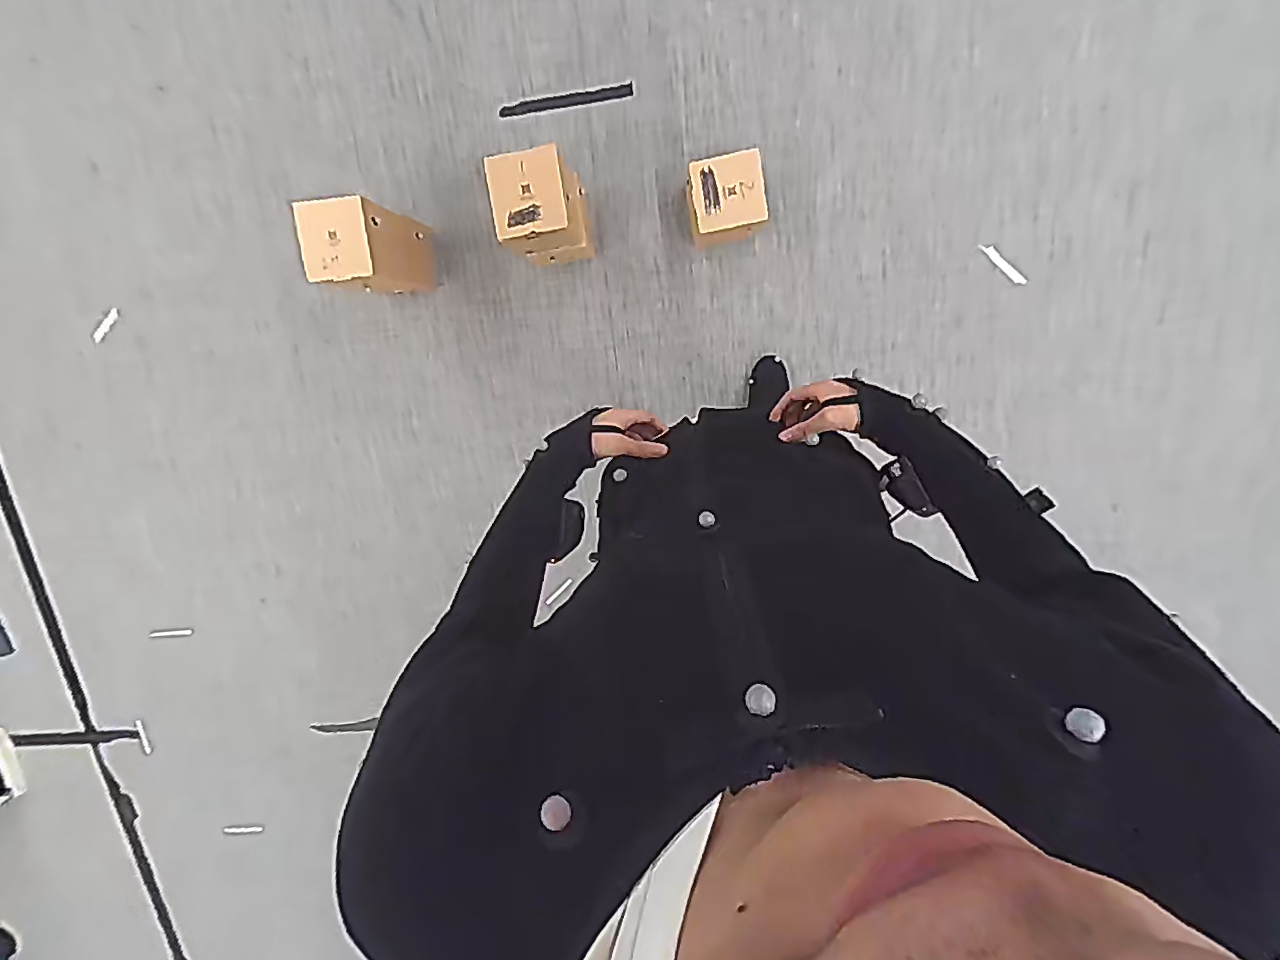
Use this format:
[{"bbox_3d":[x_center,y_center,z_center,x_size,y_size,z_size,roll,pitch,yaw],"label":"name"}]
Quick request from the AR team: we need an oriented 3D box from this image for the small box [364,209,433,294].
[{"bbox_3d":[-0.680,-0.609,1.457,0.168,0.176,0.179,-3,102,5],"label":"small box"}]

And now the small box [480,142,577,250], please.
[{"bbox_3d":[-0.251,-0.648,1.258,0.168,0.176,0.179,-8,100,5],"label":"small box"}]

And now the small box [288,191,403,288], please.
[{"bbox_3d":[-0.697,-0.569,1.299,0.168,0.176,0.179,-3,103,5],"label":"small box"}]

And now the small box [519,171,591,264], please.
[{"bbox_3d":[-0.230,-0.677,1.419,0.168,0.176,0.179,-8,101,5],"label":"small box"}]
